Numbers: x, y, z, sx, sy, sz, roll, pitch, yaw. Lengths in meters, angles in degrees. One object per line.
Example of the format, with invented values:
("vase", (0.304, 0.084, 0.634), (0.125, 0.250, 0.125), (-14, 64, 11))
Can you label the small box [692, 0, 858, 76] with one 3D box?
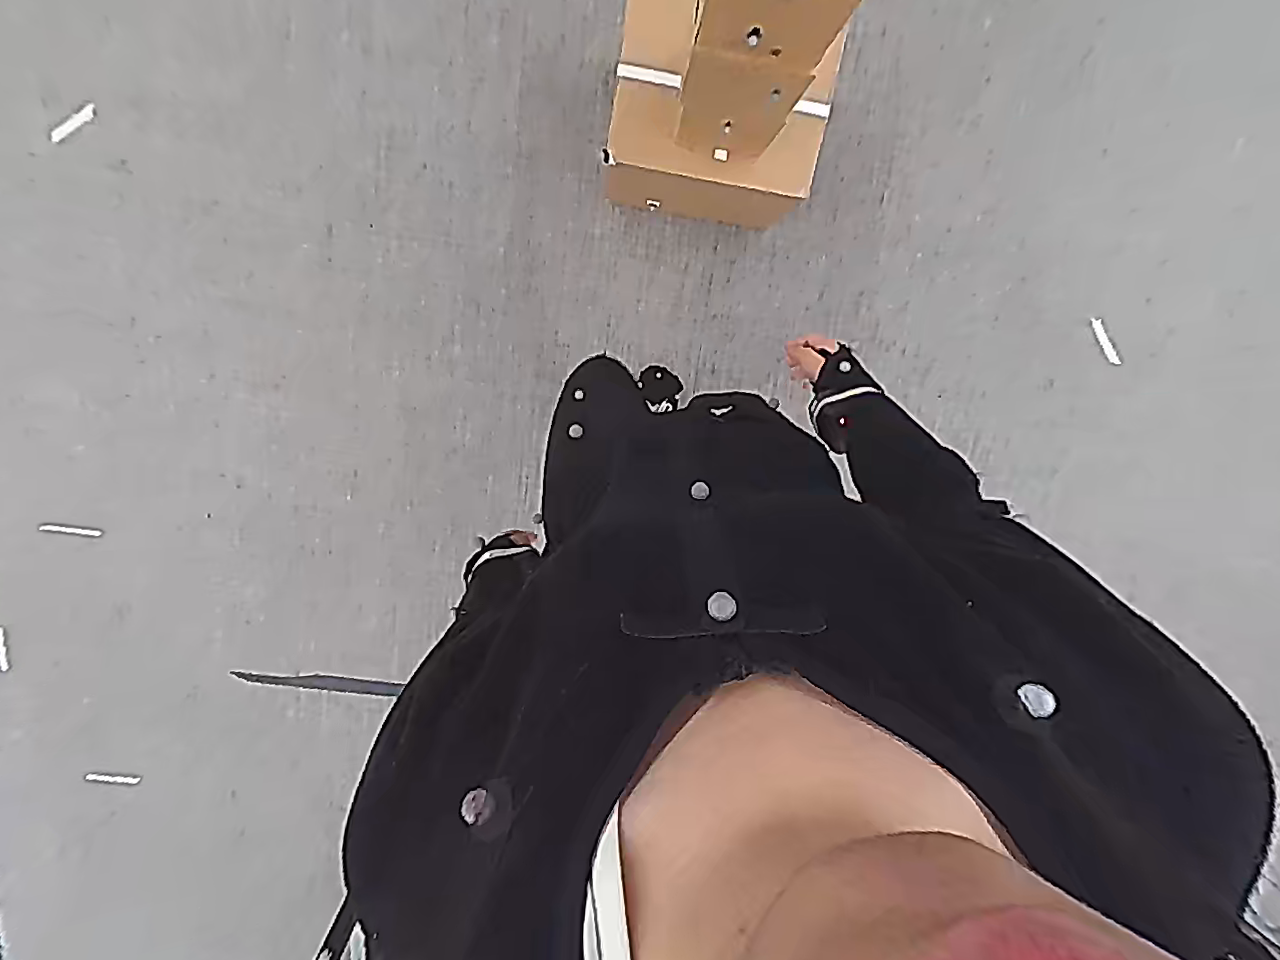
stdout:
("small box", (0.162, -0.628, 0.639), (0.168, 0.176, 0.179), (6, 103, -5))

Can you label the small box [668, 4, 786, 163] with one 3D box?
("small box", (0.151, -0.688, 0.960), (0.179, 0.176, 0.168), (6, 103, -6))
